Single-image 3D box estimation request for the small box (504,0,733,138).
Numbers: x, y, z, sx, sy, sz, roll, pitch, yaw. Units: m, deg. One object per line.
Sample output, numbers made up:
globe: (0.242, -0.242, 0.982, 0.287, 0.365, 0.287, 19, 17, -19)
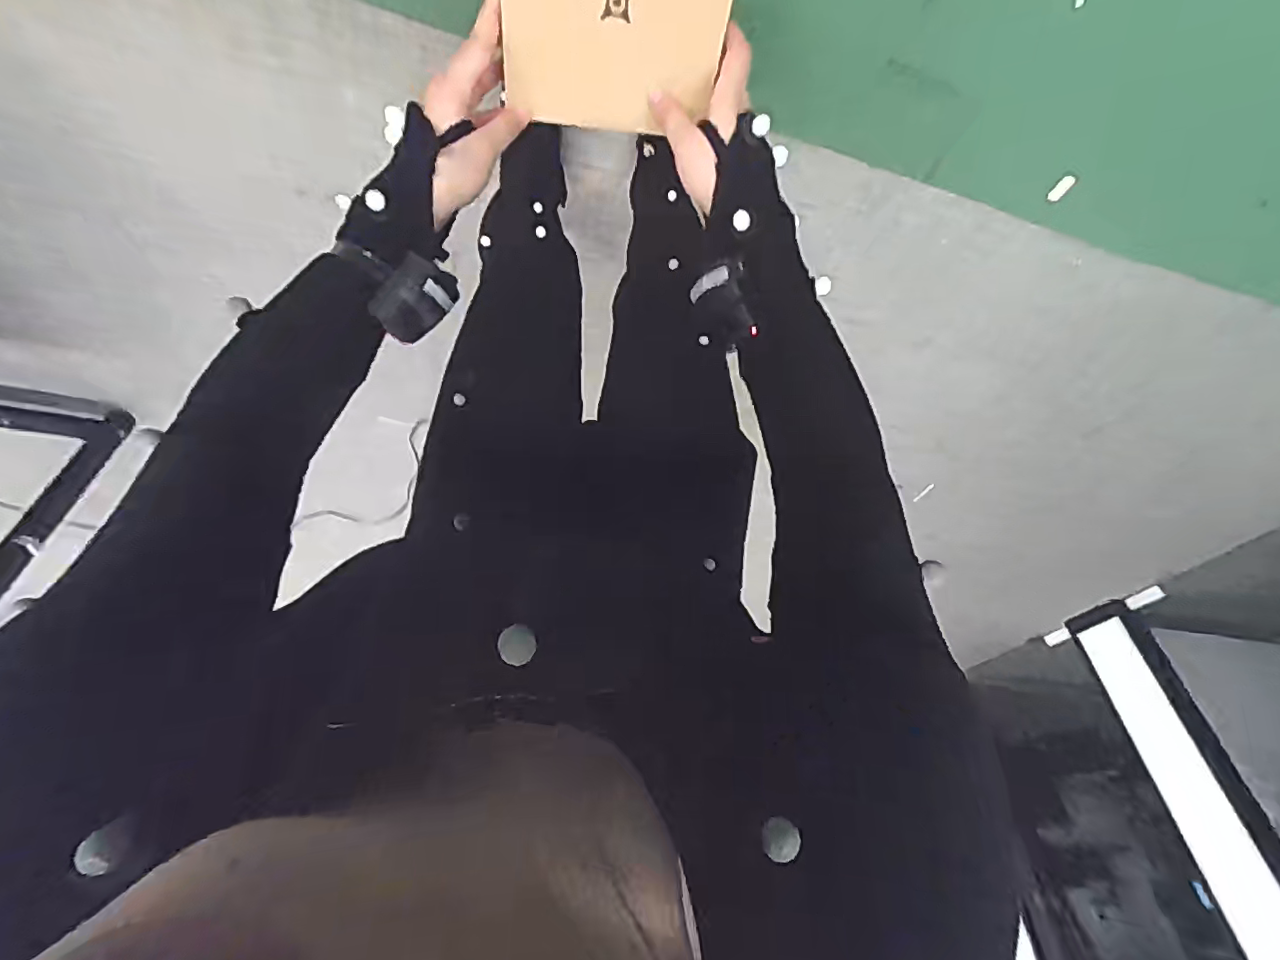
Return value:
small box: (-0.019, -0.410, 0.426, 0.168, 0.176, 0.179, 0, 146, -9)
